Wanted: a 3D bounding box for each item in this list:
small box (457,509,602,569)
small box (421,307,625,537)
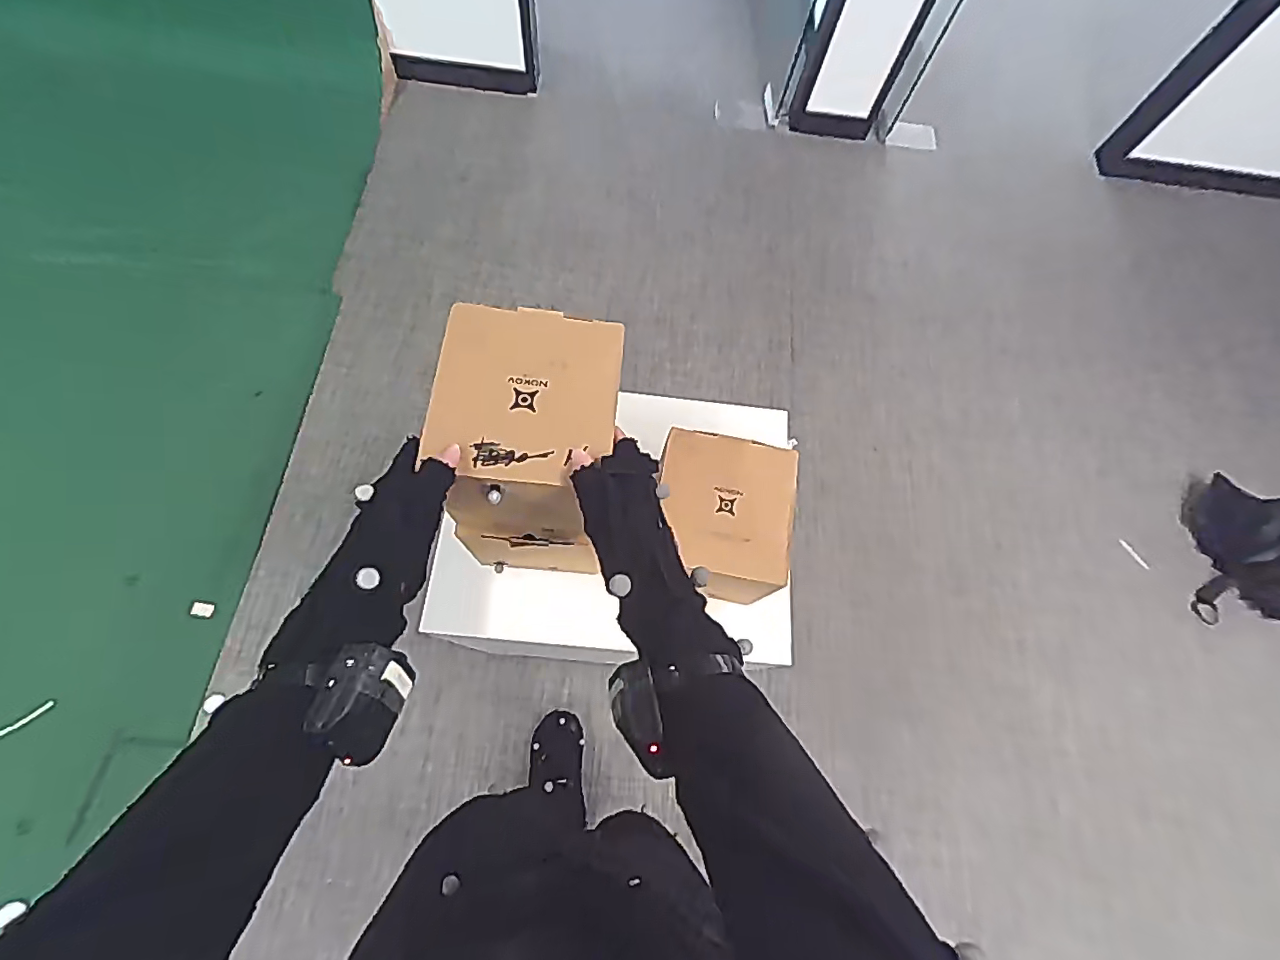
[{"bbox_3d":[-0.129,0.015,0.723,0.168,0.176,0.179,5,68,-4],"label":"small box"},{"bbox_3d":[-0.110,-0.052,0.574,0.168,0.176,0.179,5,69,-3],"label":"small box"}]
